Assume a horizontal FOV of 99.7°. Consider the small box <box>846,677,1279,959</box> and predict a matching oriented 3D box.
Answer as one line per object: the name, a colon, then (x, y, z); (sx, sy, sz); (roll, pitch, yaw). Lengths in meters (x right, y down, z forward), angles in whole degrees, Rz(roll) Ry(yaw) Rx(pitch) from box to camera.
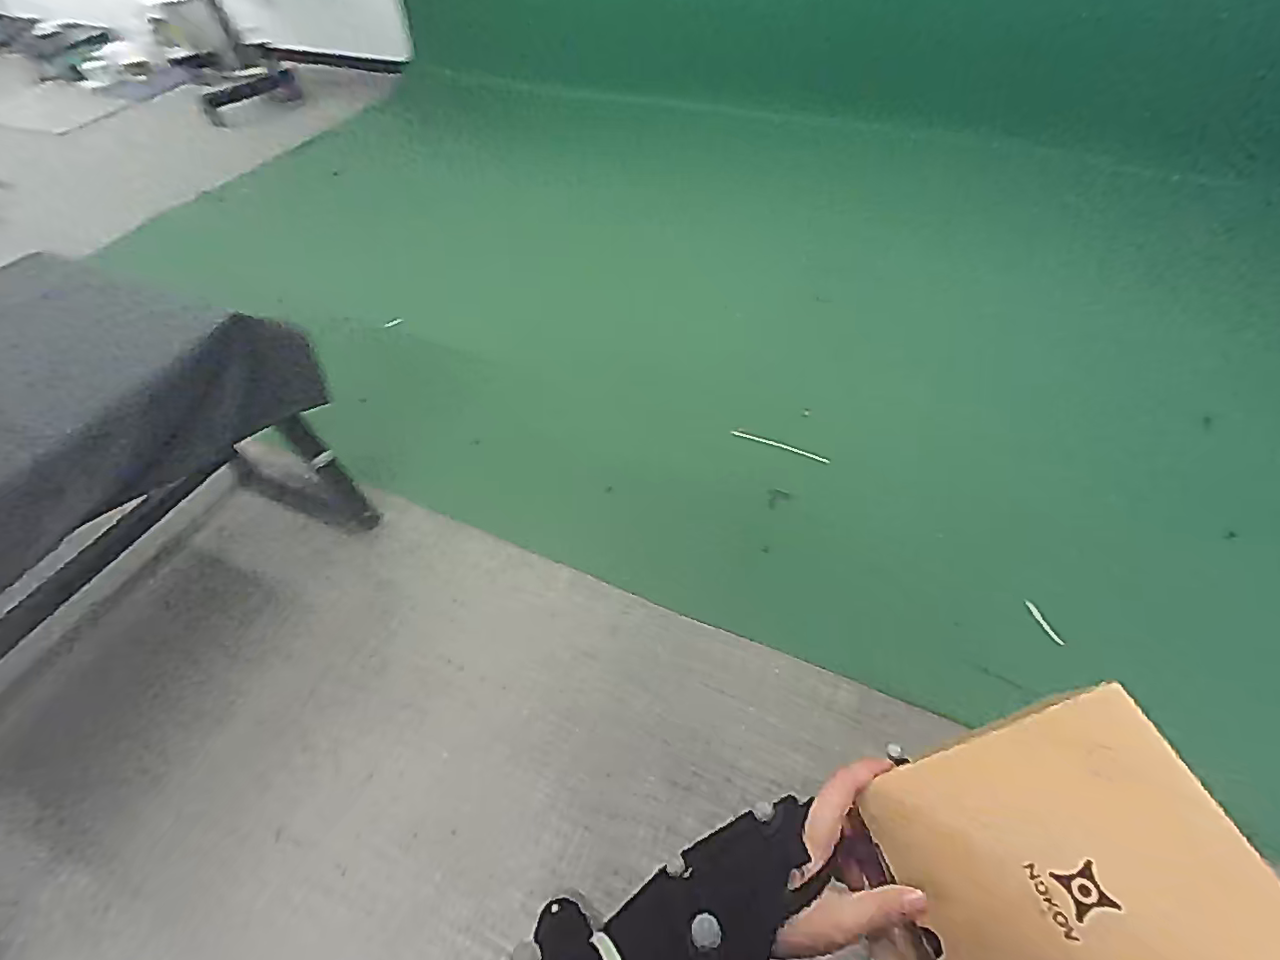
small box: (0.258, 0.249, 0.357); (0.179, 0.176, 0.168); (-29, 58, 8)
